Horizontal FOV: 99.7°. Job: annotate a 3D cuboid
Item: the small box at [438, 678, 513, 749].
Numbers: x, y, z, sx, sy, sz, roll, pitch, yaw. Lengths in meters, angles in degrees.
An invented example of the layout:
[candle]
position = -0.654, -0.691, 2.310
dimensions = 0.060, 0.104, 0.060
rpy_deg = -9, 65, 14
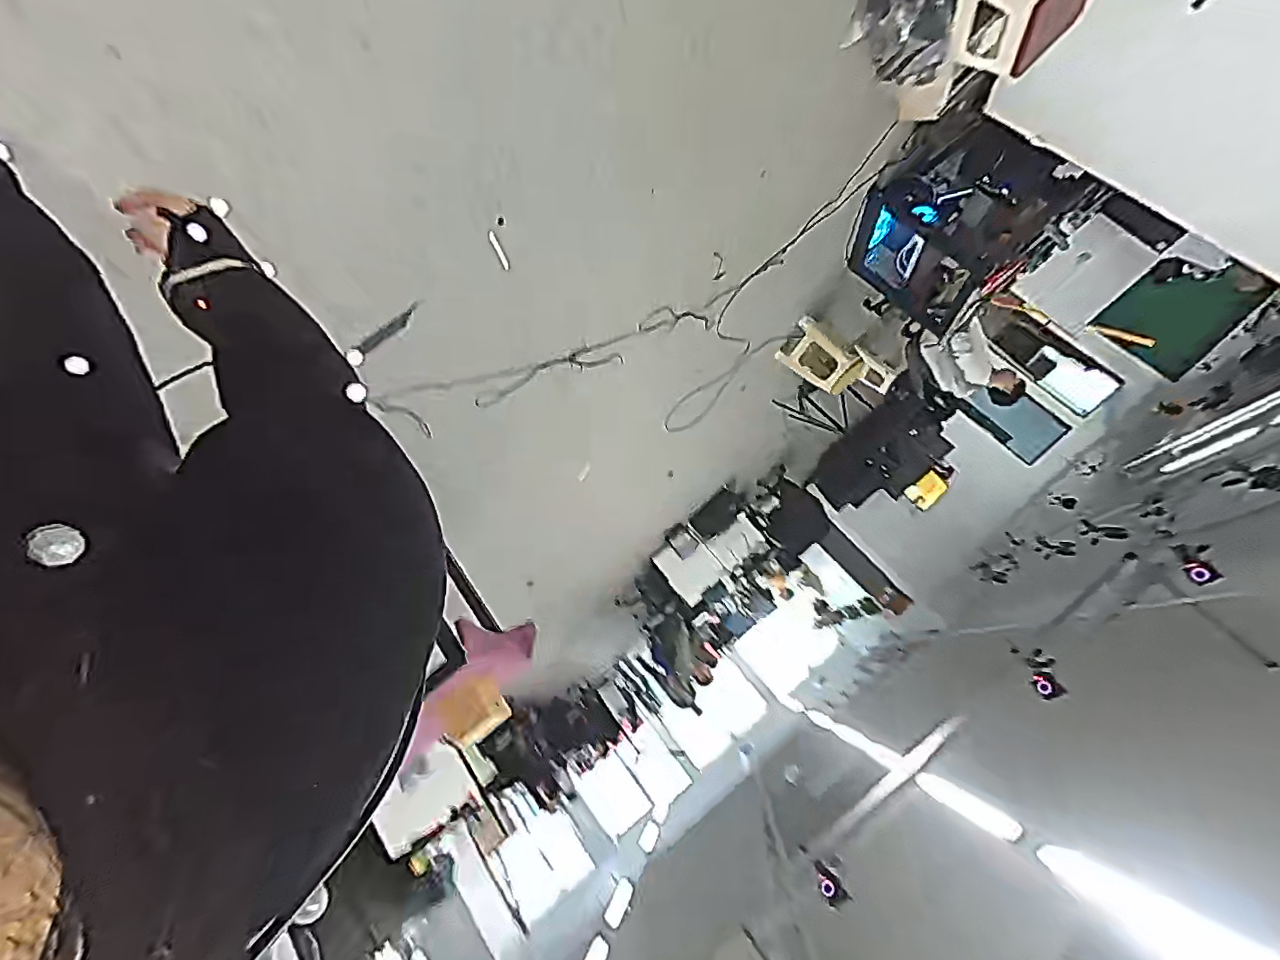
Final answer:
[small box]
position = -0.611, 0.856, 1.999
dimensions = 0.168, 0.176, 0.179
rpy_deg = -41, 161, -2
